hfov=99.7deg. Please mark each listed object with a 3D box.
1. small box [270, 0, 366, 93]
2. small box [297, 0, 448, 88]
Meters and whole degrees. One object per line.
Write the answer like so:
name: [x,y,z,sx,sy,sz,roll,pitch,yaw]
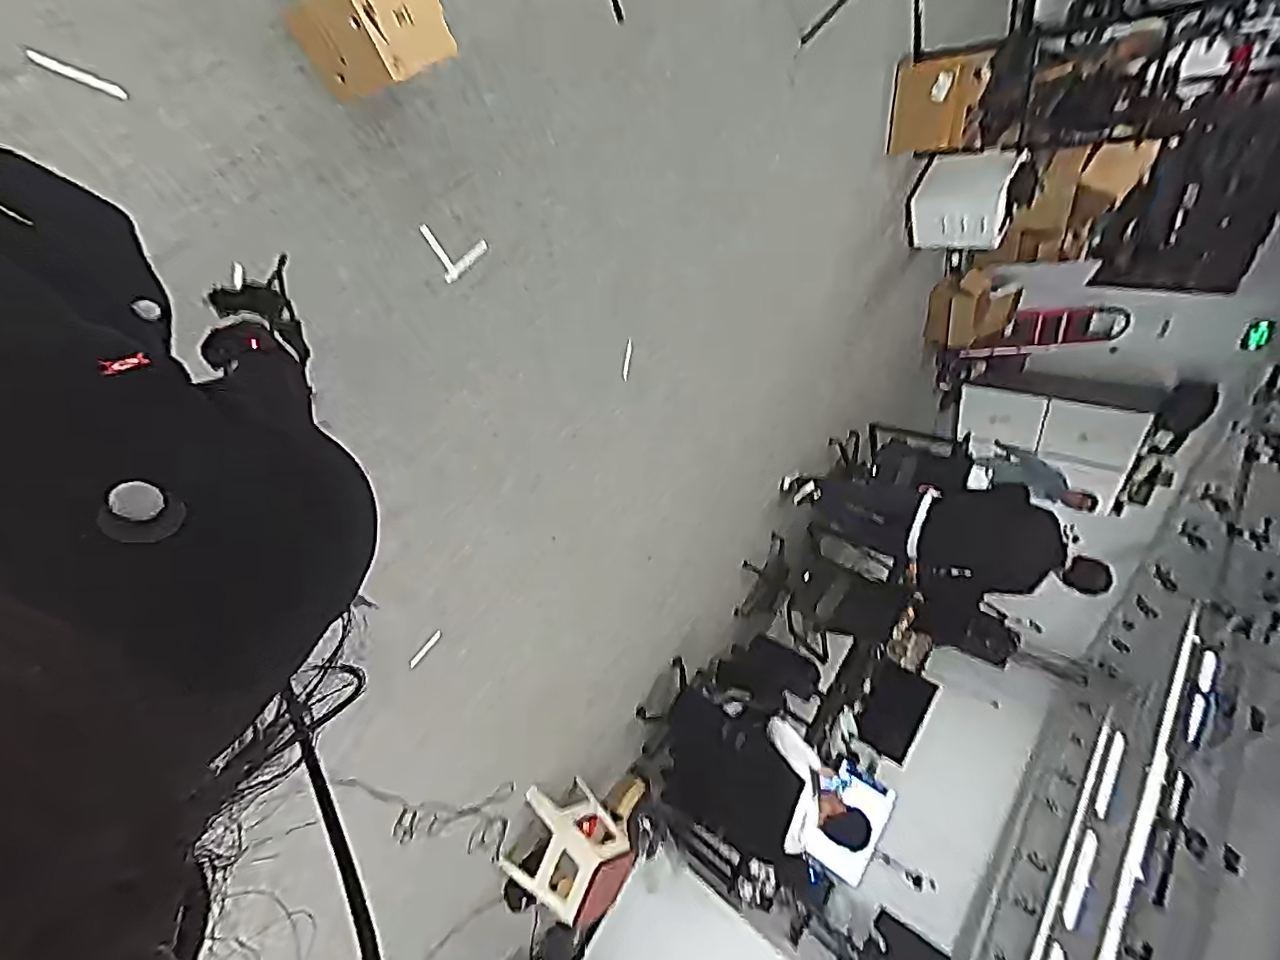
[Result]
small box: [-0.643,-0.970,1.165,0.168,0.176,0.179,-54,140,-20]
small box: [-0.526,-0.907,1.068,0.179,0.176,0.168,-50,139,-26]
